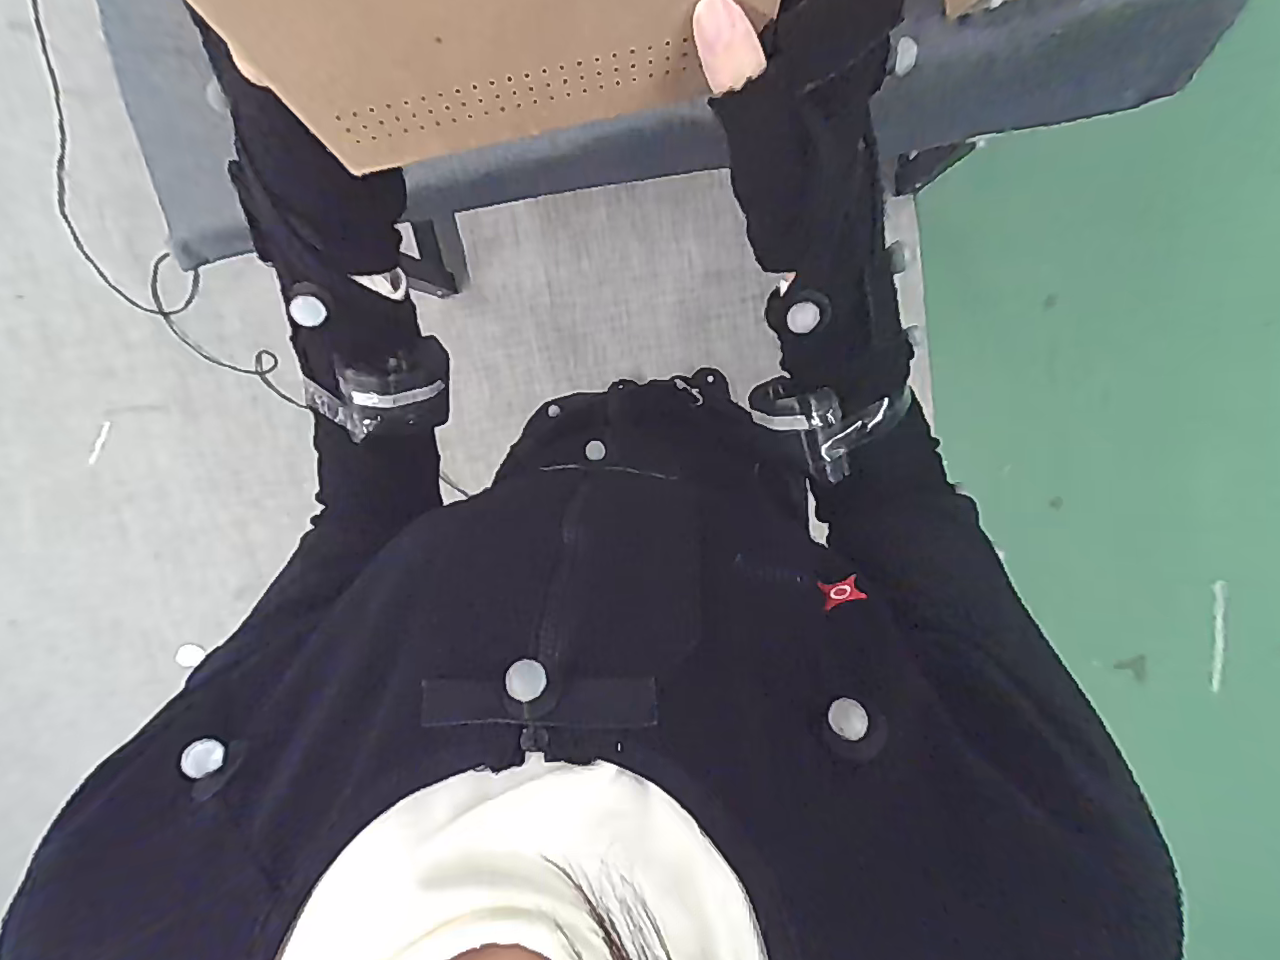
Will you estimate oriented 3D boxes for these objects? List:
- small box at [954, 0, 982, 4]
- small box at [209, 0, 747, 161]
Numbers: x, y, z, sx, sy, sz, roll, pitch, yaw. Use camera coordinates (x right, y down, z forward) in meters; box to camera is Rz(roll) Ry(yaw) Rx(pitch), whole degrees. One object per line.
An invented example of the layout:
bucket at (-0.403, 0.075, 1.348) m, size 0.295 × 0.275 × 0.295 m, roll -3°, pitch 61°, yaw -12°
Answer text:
small box at (0.368, -0.572, 0.472) m, size 0.168 × 0.176 × 0.179 m, roll -14°, pitch 99°, yaw 7°
small box at (-0.056, -0.232, 0.151) m, size 0.179 × 0.176 × 0.168 m, roll -13°, pitch 85°, yaw 3°
